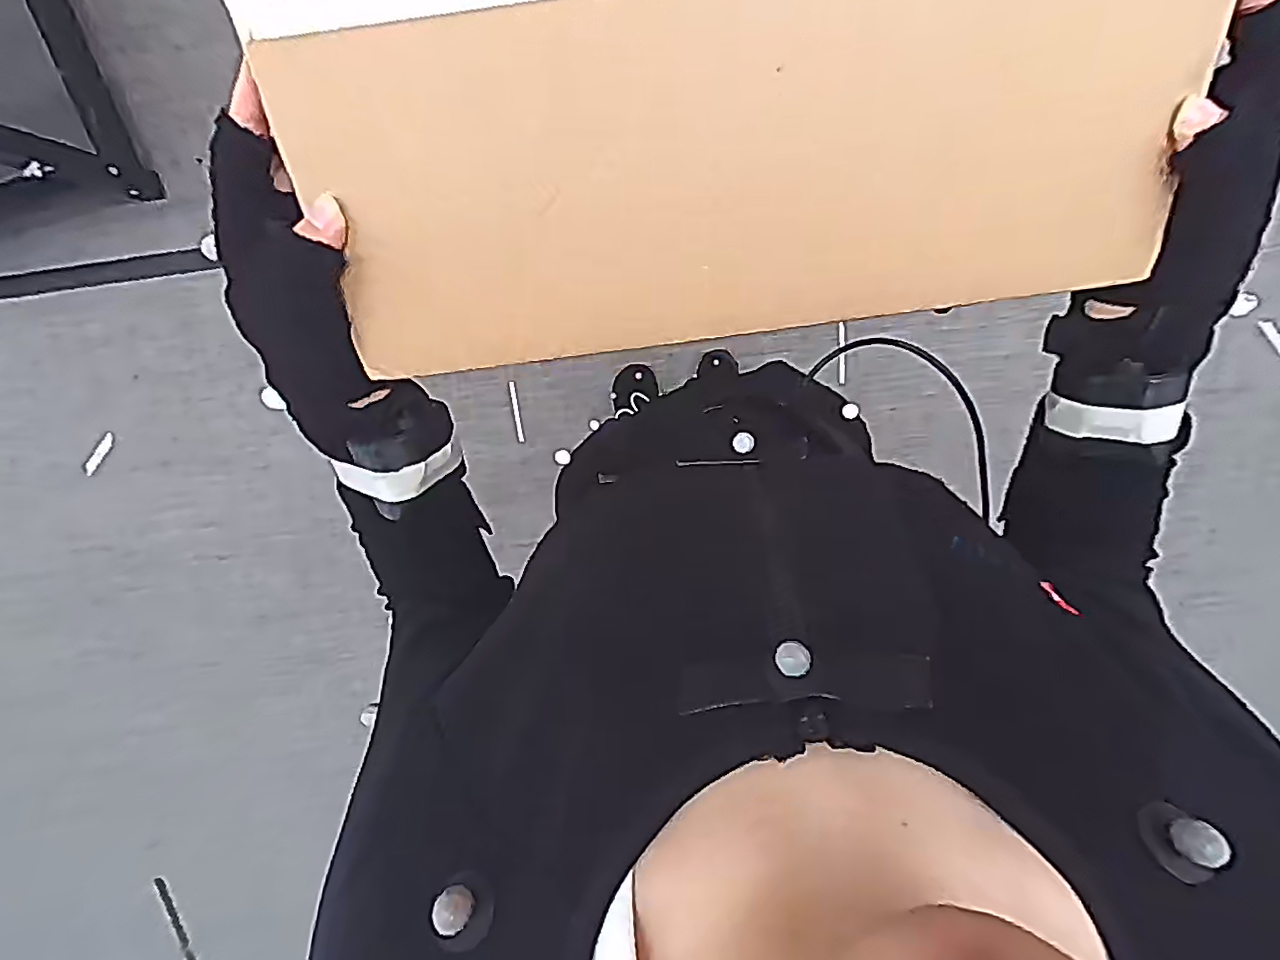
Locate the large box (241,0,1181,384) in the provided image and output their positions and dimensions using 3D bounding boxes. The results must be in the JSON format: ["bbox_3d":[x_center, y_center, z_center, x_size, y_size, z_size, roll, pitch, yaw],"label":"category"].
[{"bbox_3d":[0.030,-0.283,0.353,0.408,0.320,0.320,-7,117,2],"label":"large box"}]
